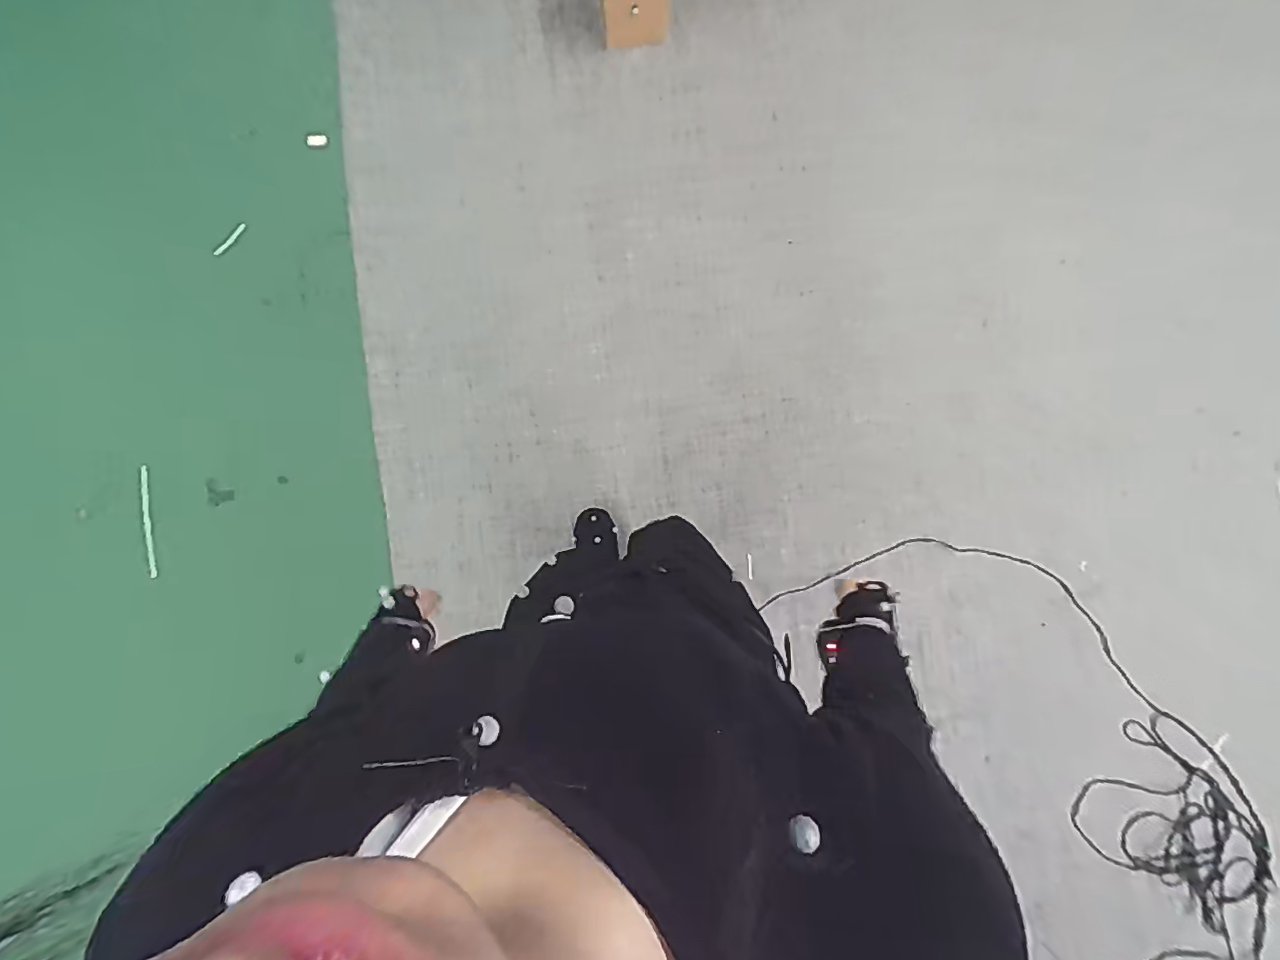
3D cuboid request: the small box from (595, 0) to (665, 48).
[{"bbox_3d":[-0.031,-1.326,1.465,0.179,0.176,0.168,-11,90,0],"label":"small box"}]
